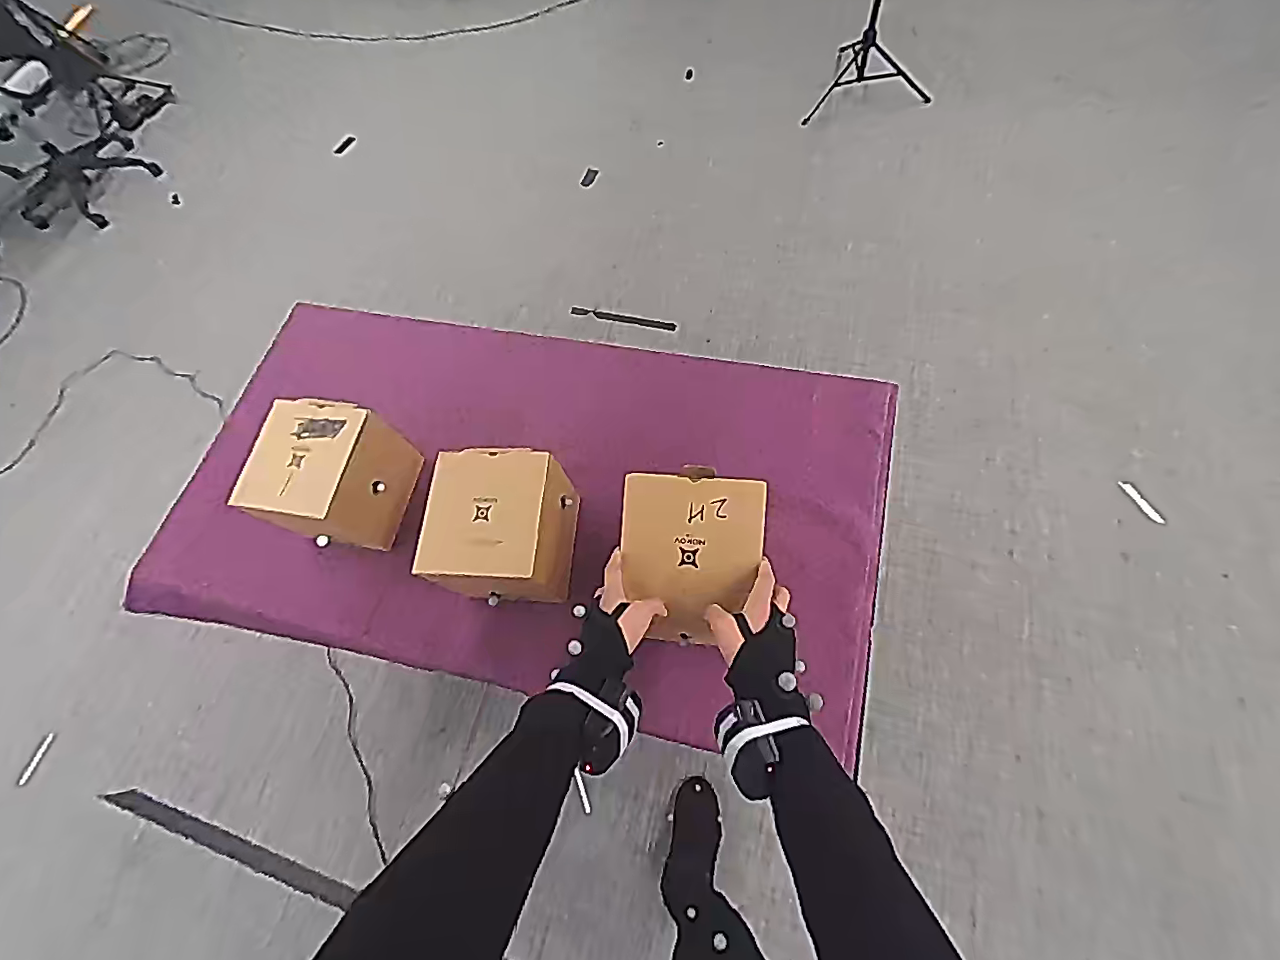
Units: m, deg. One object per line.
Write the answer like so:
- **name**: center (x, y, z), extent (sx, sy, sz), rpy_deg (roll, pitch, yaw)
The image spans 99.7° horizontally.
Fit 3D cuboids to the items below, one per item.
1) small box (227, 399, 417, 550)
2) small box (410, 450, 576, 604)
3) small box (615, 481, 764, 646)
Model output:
- **small box**: center (-0.483, -0.004, 0.857), extent (0.168, 0.176, 0.179), rpy_deg (7, 69, 12)
- **small box**: center (-0.196, 0.072, 0.783), extent (0.168, 0.176, 0.179), rpy_deg (1, 67, 10)
- **small box**: center (0.073, 0.118, 0.720), extent (0.168, 0.176, 0.179), rpy_deg (4, 67, 10)
